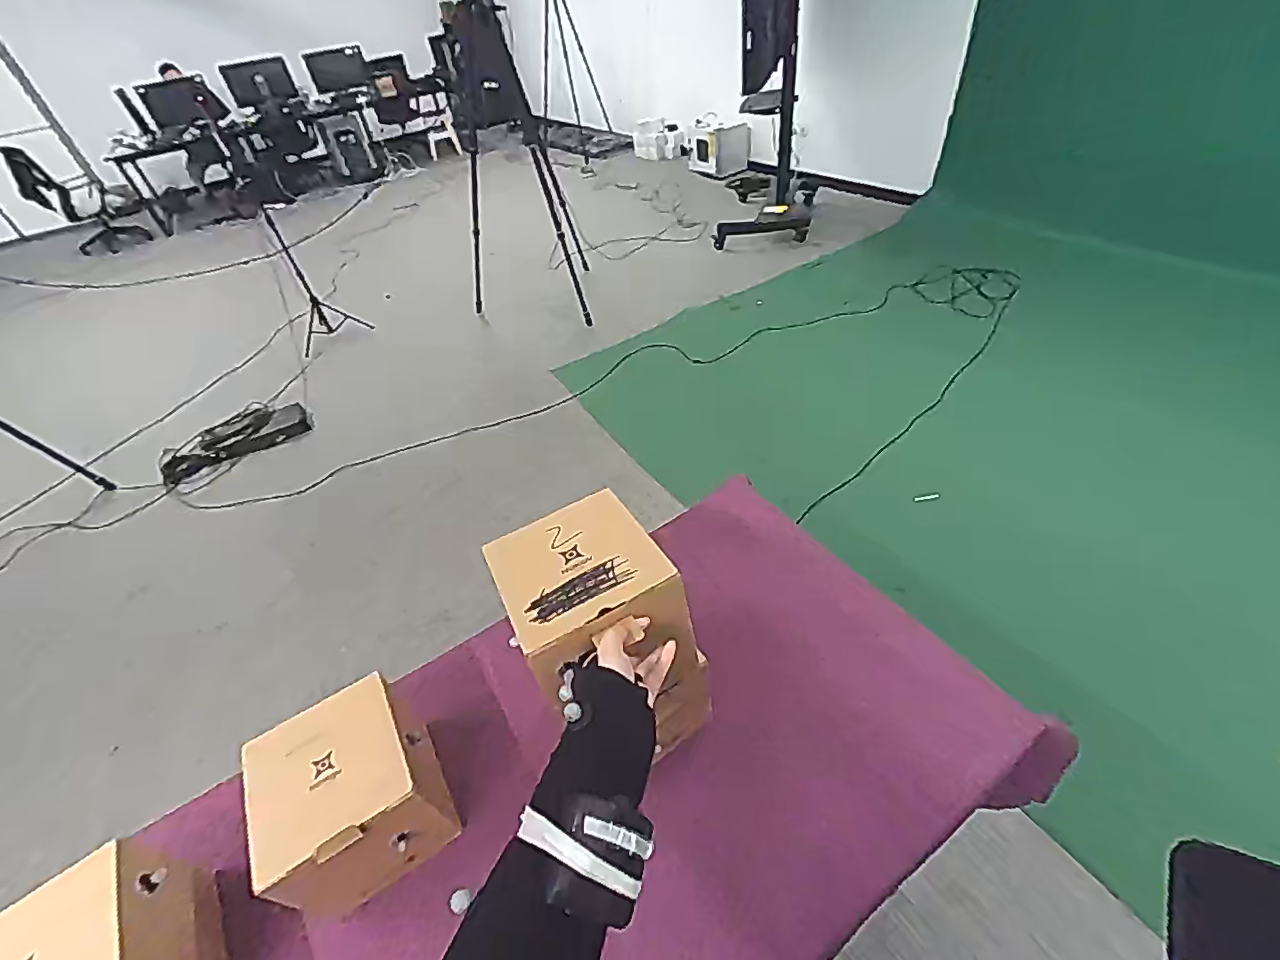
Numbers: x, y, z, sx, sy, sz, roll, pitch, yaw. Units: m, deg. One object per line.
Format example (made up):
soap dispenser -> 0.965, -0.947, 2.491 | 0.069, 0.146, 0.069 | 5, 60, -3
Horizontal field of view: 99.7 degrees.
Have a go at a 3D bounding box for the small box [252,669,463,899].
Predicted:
small box -> -0.345, 0.382, 0.677 | 0.168, 0.176, 0.179 | -28, 47, -19

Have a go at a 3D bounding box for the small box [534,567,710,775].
small box -> -0.020, 0.261, 0.743 | 0.168, 0.176, 0.179 | -30, 48, -19

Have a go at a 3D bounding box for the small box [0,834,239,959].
small box -> -0.560, 0.526, 0.566 | 0.168, 0.176, 0.179 | -33, 49, -22
